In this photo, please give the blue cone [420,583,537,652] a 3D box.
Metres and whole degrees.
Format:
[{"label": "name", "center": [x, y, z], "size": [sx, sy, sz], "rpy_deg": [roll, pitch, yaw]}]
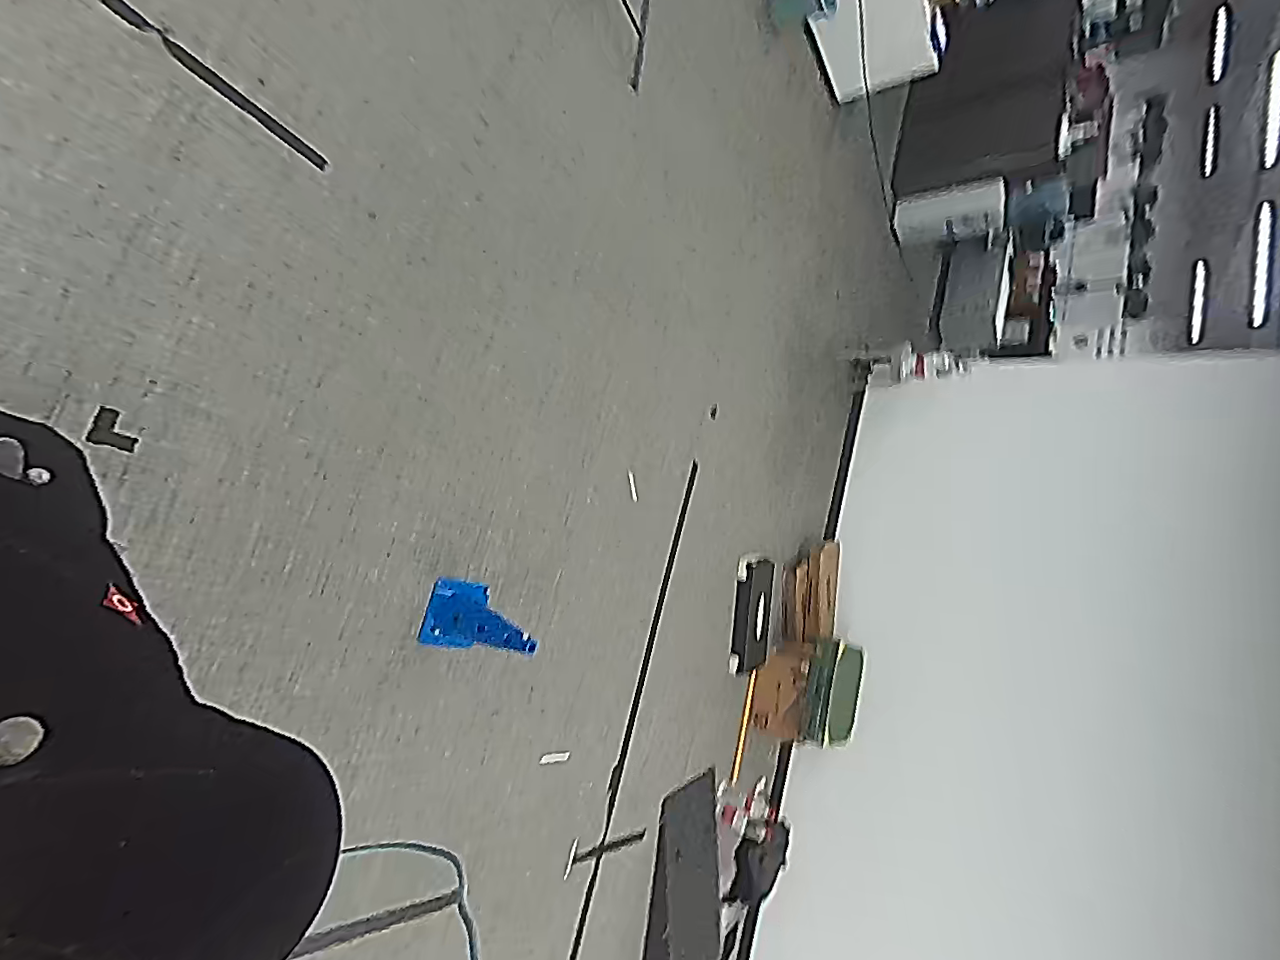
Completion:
[{"label": "blue cone", "center": [-0.431, 0.426, 1.521], "size": [0.193, 0.380, 0.192], "rpy_deg": [30, 71, -50]}]
